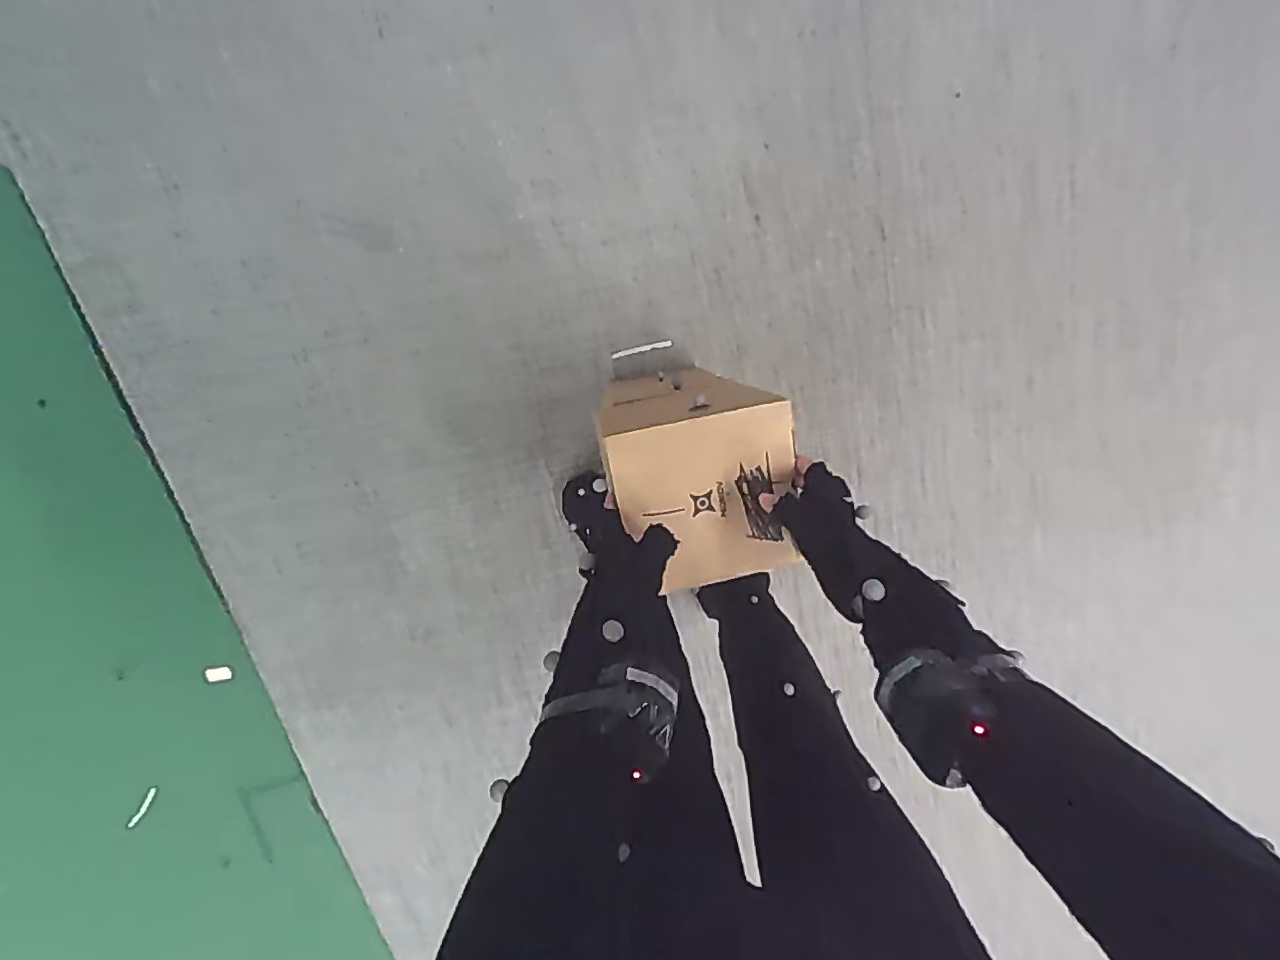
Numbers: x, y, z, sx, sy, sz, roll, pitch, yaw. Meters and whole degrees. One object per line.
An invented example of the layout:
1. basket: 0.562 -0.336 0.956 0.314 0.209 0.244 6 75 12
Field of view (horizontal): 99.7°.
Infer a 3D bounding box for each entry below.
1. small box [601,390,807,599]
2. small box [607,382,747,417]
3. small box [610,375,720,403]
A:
1. small box: 0.060 0.003 0.586 0.179 0.176 0.168 -11 106 -4
2. small box: 0.052 -0.043 0.767 0.179 0.176 0.168 -9 104 -2
3. small box: 0.046 -0.082 0.927 0.179 0.176 0.168 -10 104 0
